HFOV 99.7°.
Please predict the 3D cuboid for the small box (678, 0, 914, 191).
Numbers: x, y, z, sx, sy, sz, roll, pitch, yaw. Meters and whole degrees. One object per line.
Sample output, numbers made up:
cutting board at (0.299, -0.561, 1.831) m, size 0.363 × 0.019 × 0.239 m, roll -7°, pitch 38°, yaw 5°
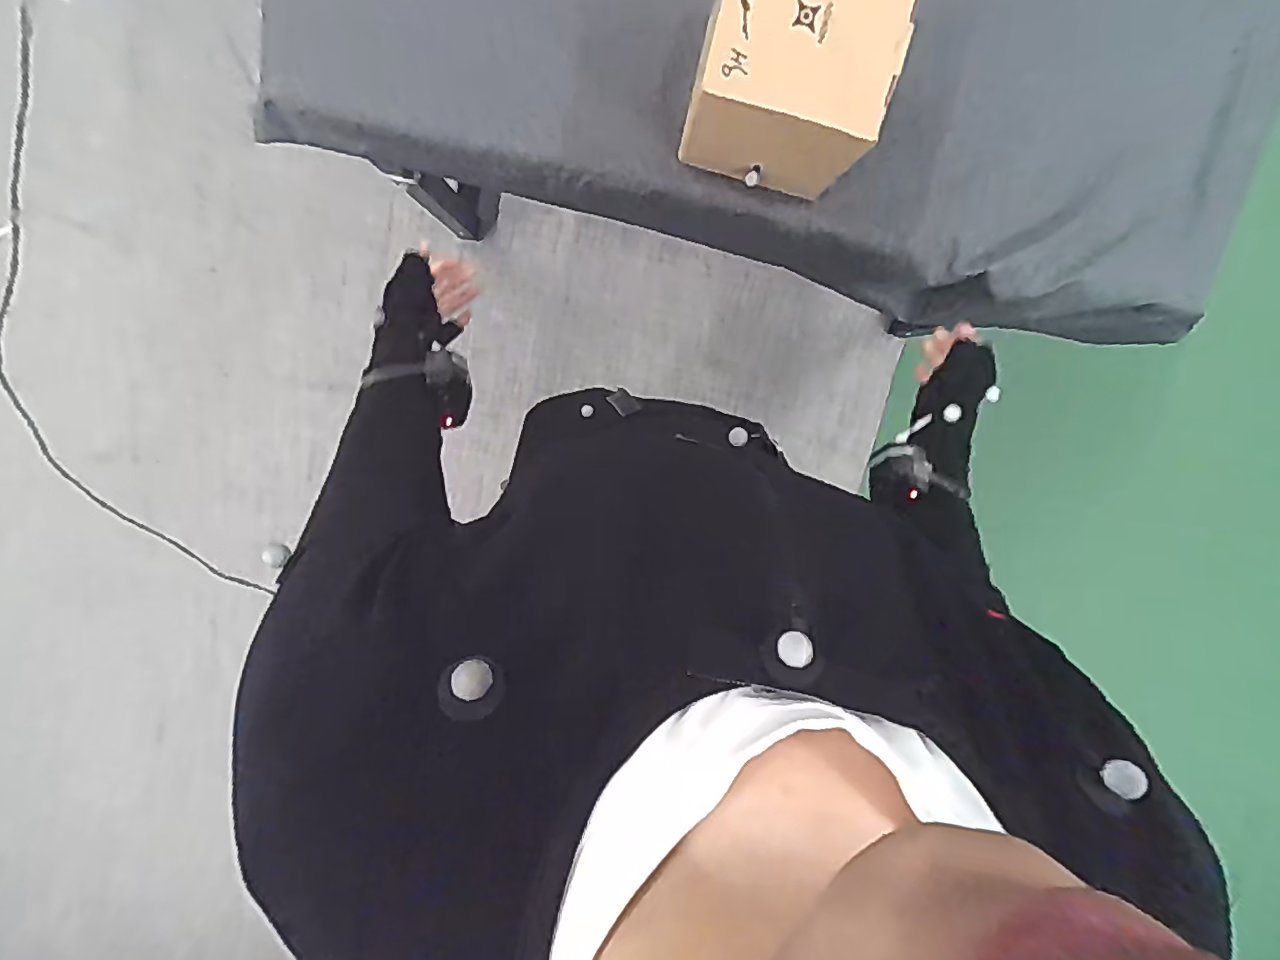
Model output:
small box at (0.151, -0.431, 0.571) m, size 0.179 × 0.176 × 0.168 m, roll 13°, pitch 99°, yaw -6°
